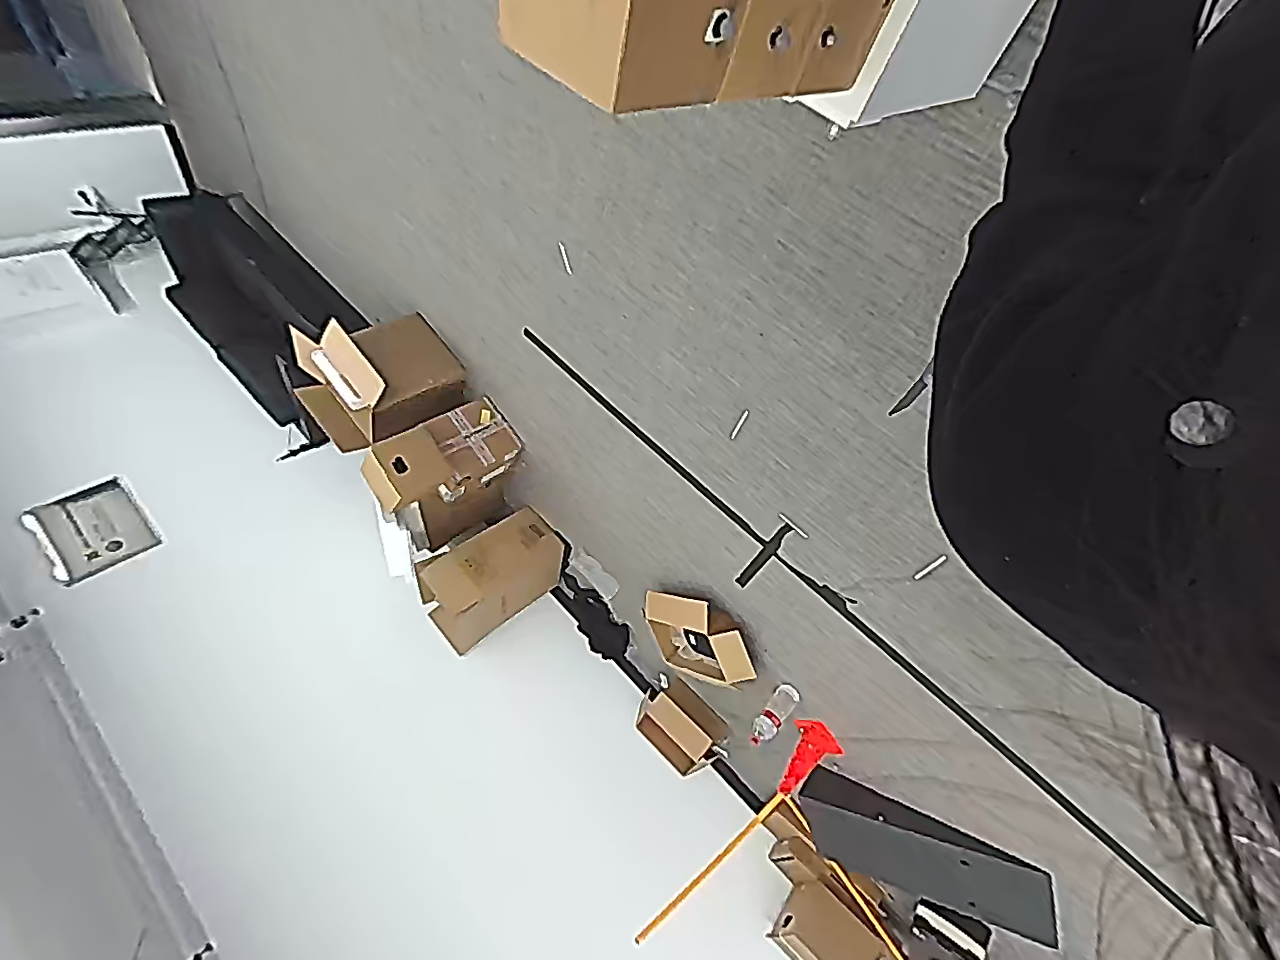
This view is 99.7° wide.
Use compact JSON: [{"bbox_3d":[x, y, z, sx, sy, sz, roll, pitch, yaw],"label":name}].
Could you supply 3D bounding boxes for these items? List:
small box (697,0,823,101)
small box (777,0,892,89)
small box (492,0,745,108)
[{"bbox_3d":[0.096,-0.551,0.591,0.179,0.176,0.168,43,144,17],"label":"small box"},{"bbox_3d":[0.205,-0.628,0.683,0.179,0.176,0.168,45,145,17],"label":"small box"},{"bbox_3d":[-0.015,-0.476,0.498,0.179,0.176,0.168,42,144,17],"label":"small box"}]
